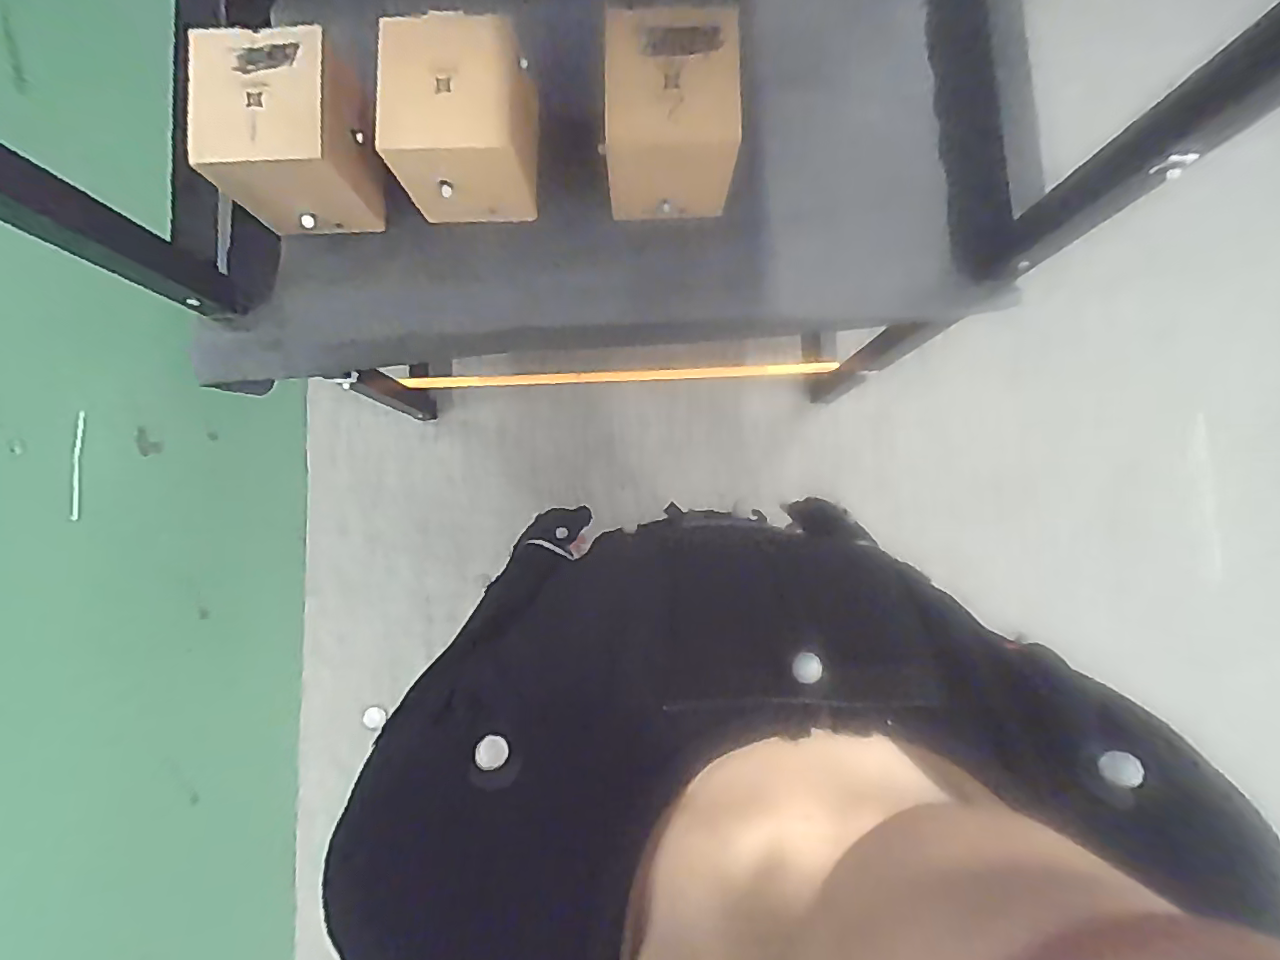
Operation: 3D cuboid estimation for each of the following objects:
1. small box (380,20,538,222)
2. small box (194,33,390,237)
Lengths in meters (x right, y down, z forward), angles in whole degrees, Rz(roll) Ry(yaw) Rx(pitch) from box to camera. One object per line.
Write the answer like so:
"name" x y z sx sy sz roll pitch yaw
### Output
"small box" -0.238 -0.480 0.749 0.168 0.176 0.179 -1 84 0
"small box" -0.465 -0.463 0.747 0.168 0.176 0.179 -2 85 0
